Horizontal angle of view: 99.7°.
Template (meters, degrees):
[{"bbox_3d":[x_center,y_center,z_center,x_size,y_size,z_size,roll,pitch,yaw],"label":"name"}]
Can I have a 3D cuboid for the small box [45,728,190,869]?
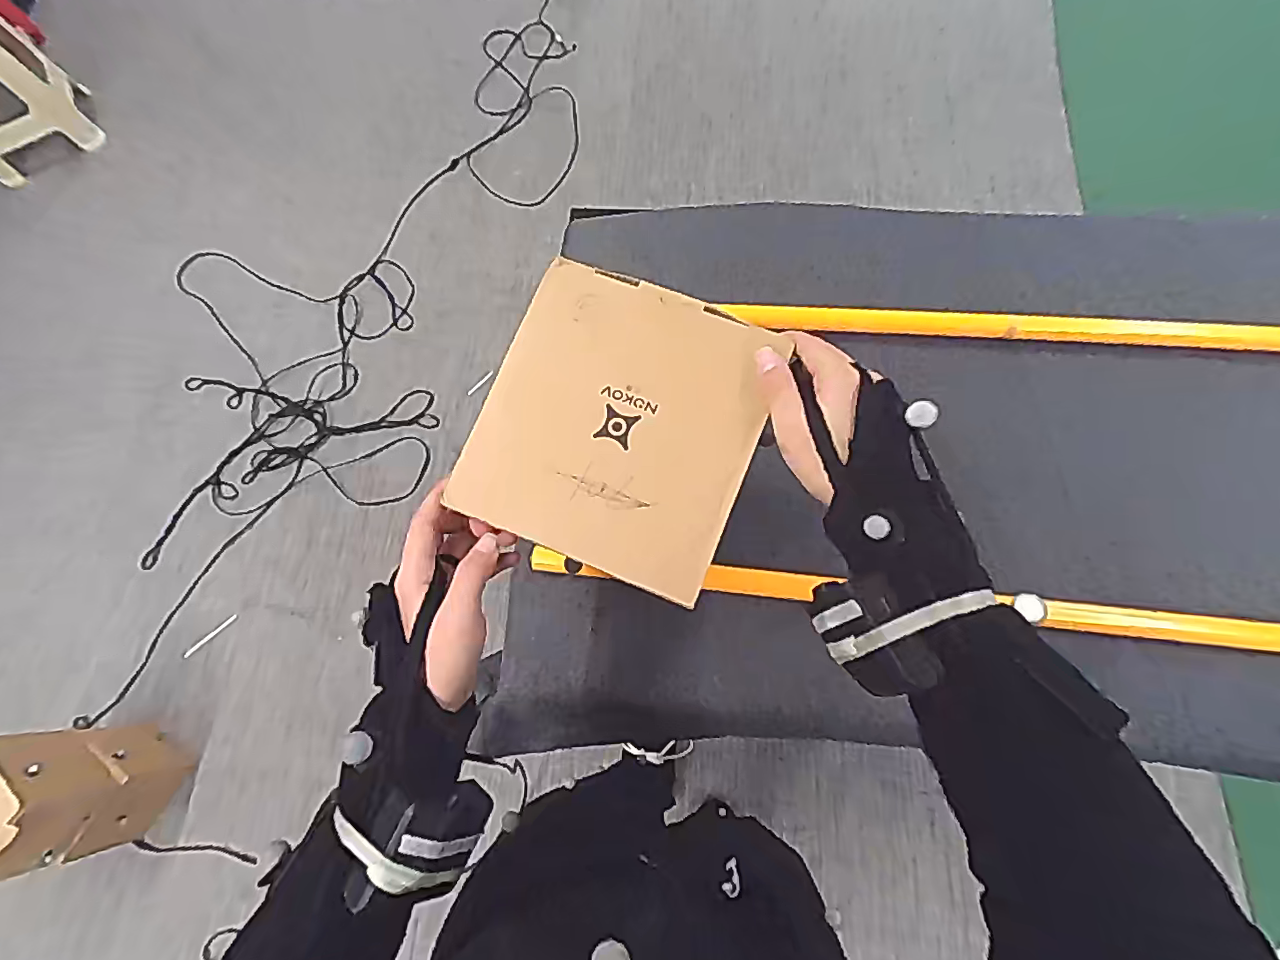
[{"bbox_3d":[-1.099,0.639,1.113,0.168,0.176,0.179,29,75,13],"label":"small box"}]

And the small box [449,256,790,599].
[{"bbox_3d":[-0.008,-0.026,0.410,0.168,0.176,0.179,21,83,7],"label":"small box"}]

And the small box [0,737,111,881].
[{"bbox_3d":[-1.118,0.582,0.959,0.179,0.176,0.168,34,75,15],"label":"small box"}]
